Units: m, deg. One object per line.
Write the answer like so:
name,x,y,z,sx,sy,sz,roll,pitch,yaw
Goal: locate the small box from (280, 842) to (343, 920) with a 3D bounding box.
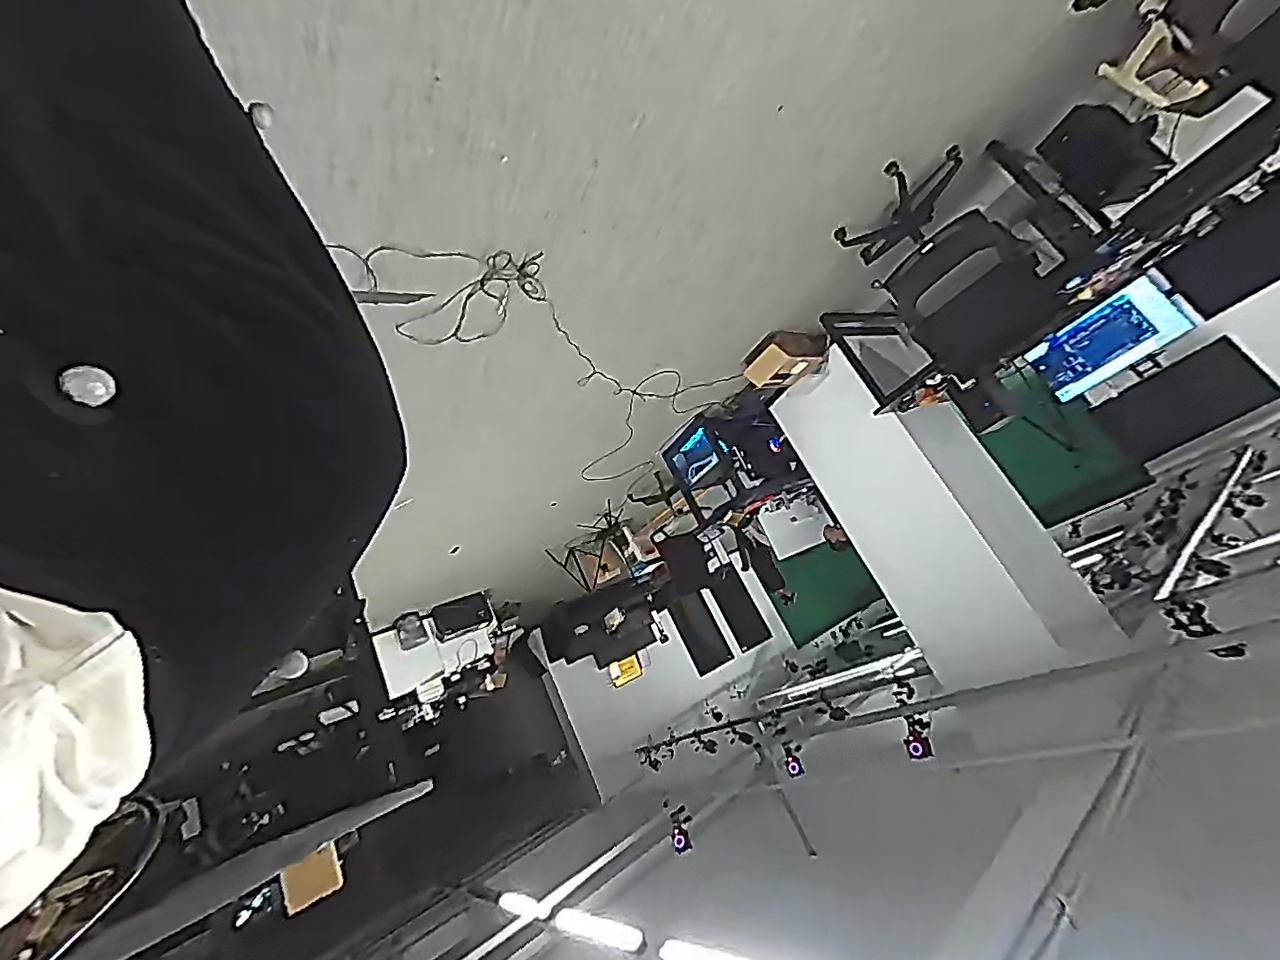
small box,-1.201,1.457,1.978,0.168,0.176,0.179,-15,159,-34
